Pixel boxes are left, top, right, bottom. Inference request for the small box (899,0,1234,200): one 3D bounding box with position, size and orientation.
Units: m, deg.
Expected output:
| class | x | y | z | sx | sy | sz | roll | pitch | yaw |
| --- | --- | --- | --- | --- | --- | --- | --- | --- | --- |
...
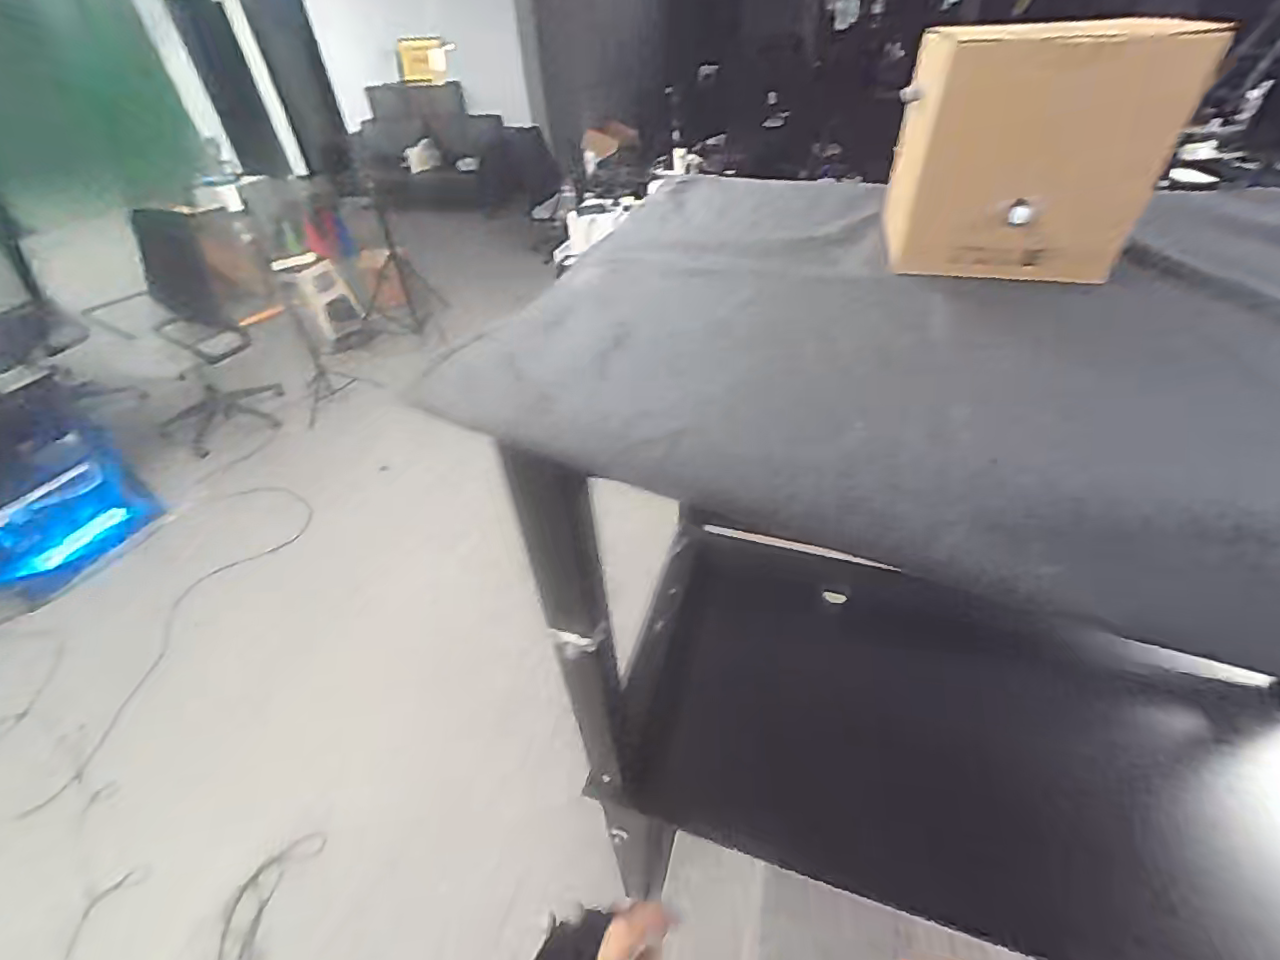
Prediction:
| class | x | y | z | sx | sy | sz | roll | pitch | yaw |
| --- | --- | --- | --- | --- | --- | --- | --- | --- | --- |
| small box | 0.322 | -0.346 | 0.442 | 0.168 | 0.176 | 0.179 | 9 | 43 | 14 |
